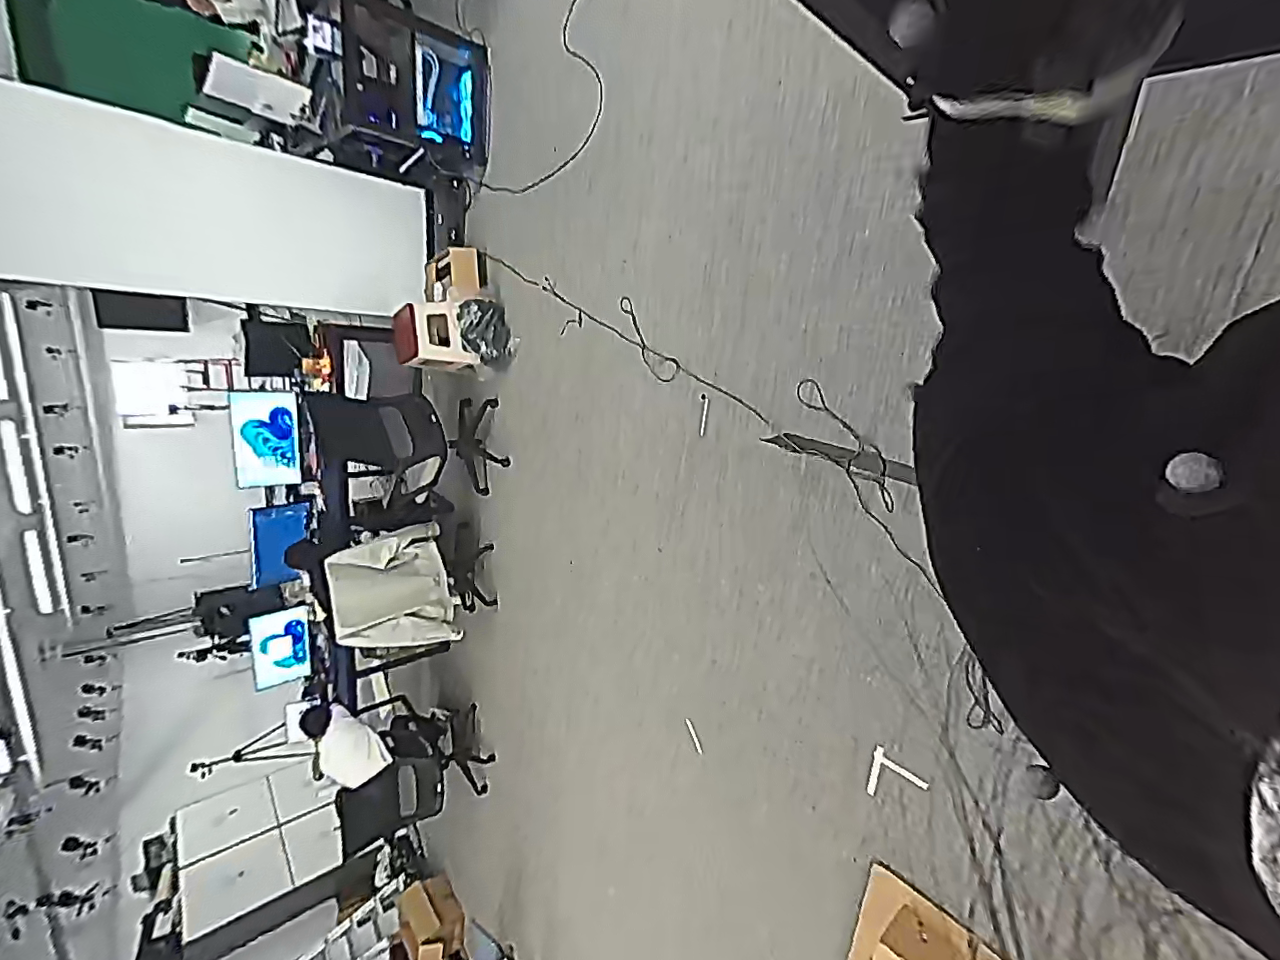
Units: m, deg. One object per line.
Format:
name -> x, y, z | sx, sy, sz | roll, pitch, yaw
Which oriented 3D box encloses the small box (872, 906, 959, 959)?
small box -> 0.772, 1.378, 1.528 | 0.168, 0.176, 0.179 | 22, 111, 44
